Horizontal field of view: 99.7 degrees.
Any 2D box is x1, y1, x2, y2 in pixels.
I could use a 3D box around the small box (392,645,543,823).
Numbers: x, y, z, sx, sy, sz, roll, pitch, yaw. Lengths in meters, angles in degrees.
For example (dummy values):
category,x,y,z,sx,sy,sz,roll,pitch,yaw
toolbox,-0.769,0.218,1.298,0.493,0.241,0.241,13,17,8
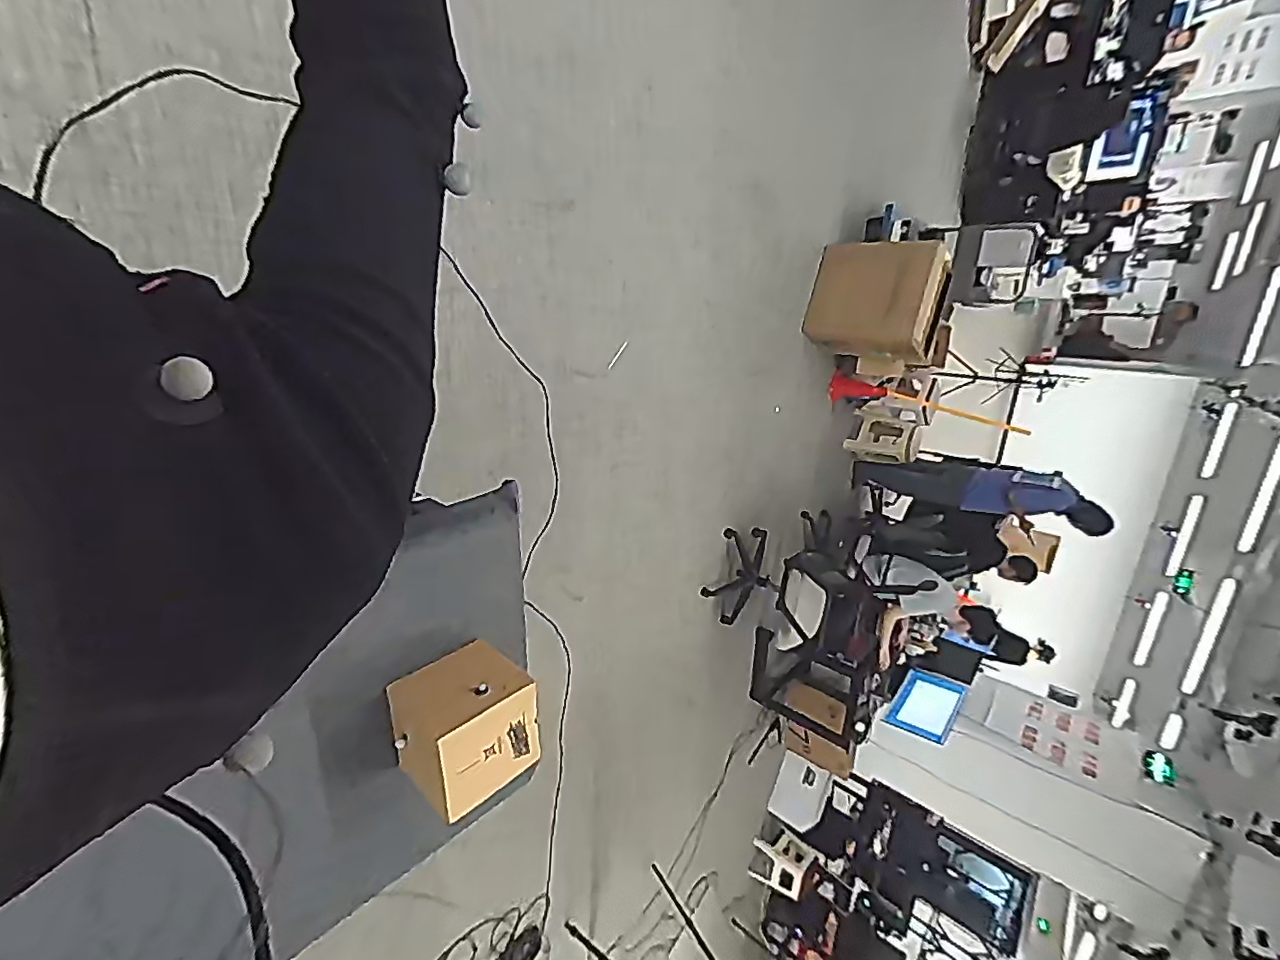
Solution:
category,x,y,z,sx,sy,sz,roll,pitch,yaw
small box,-0.284,0.408,0.903,0.179,0.176,0.168,-20,117,-44
